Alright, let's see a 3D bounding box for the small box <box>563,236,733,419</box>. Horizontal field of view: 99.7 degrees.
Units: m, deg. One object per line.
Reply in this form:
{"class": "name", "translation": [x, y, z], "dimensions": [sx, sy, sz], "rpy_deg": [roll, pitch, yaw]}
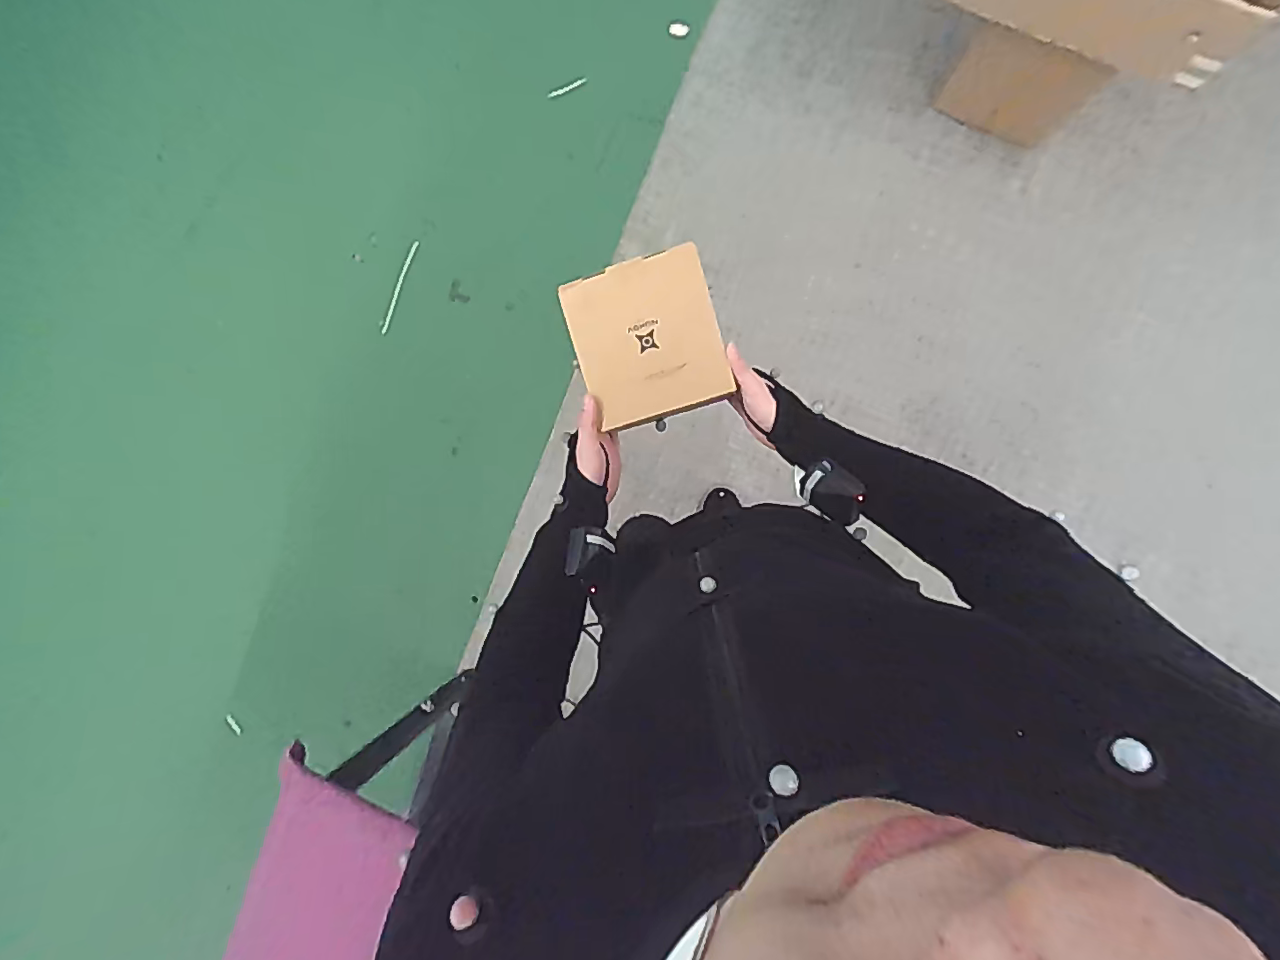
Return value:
{"class": "small box", "translation": [0.016, -0.181, 0.700], "dimensions": [0.168, 0.176, 0.179], "rpy_deg": [-14, 94, 8]}
